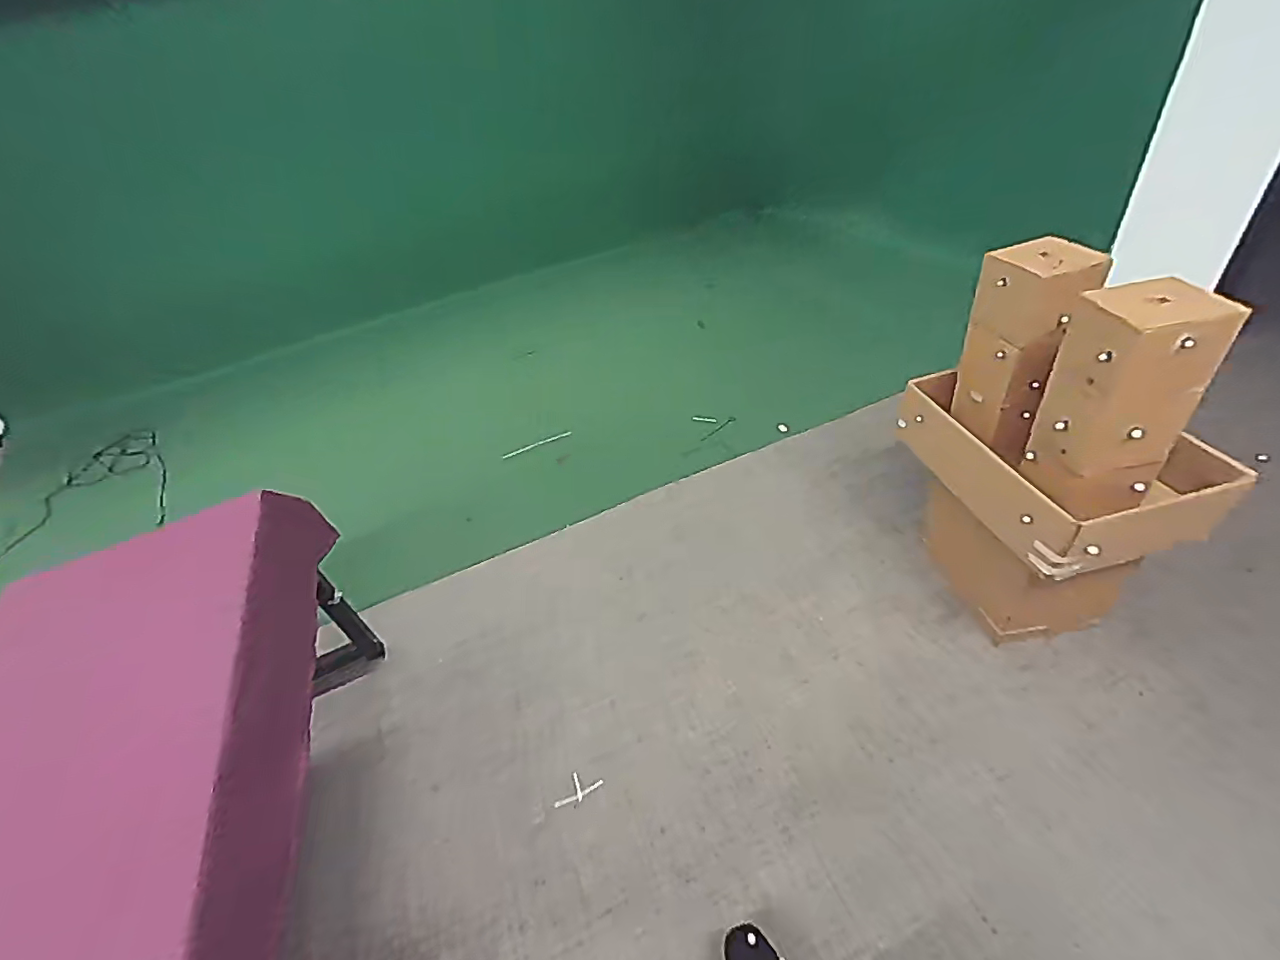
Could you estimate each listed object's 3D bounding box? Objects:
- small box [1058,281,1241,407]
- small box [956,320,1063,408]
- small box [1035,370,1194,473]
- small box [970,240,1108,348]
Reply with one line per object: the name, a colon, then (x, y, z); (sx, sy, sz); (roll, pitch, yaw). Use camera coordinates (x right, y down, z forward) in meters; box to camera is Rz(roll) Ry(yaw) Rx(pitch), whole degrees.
small box: (0.945, -0.256, 1.031); (0.179, 0.176, 0.168); (-9, 41, 3)
small box: (0.931, -0.307, 1.354); (0.168, 0.176, 0.179); (-15, 42, -3)
small box: (0.973, -0.133, 1.135); (0.179, 0.176, 0.168); (-11, 40, 3)
small box: (0.901, -0.427, 1.245); (0.168, 0.176, 0.179); (-16, 42, -3)
